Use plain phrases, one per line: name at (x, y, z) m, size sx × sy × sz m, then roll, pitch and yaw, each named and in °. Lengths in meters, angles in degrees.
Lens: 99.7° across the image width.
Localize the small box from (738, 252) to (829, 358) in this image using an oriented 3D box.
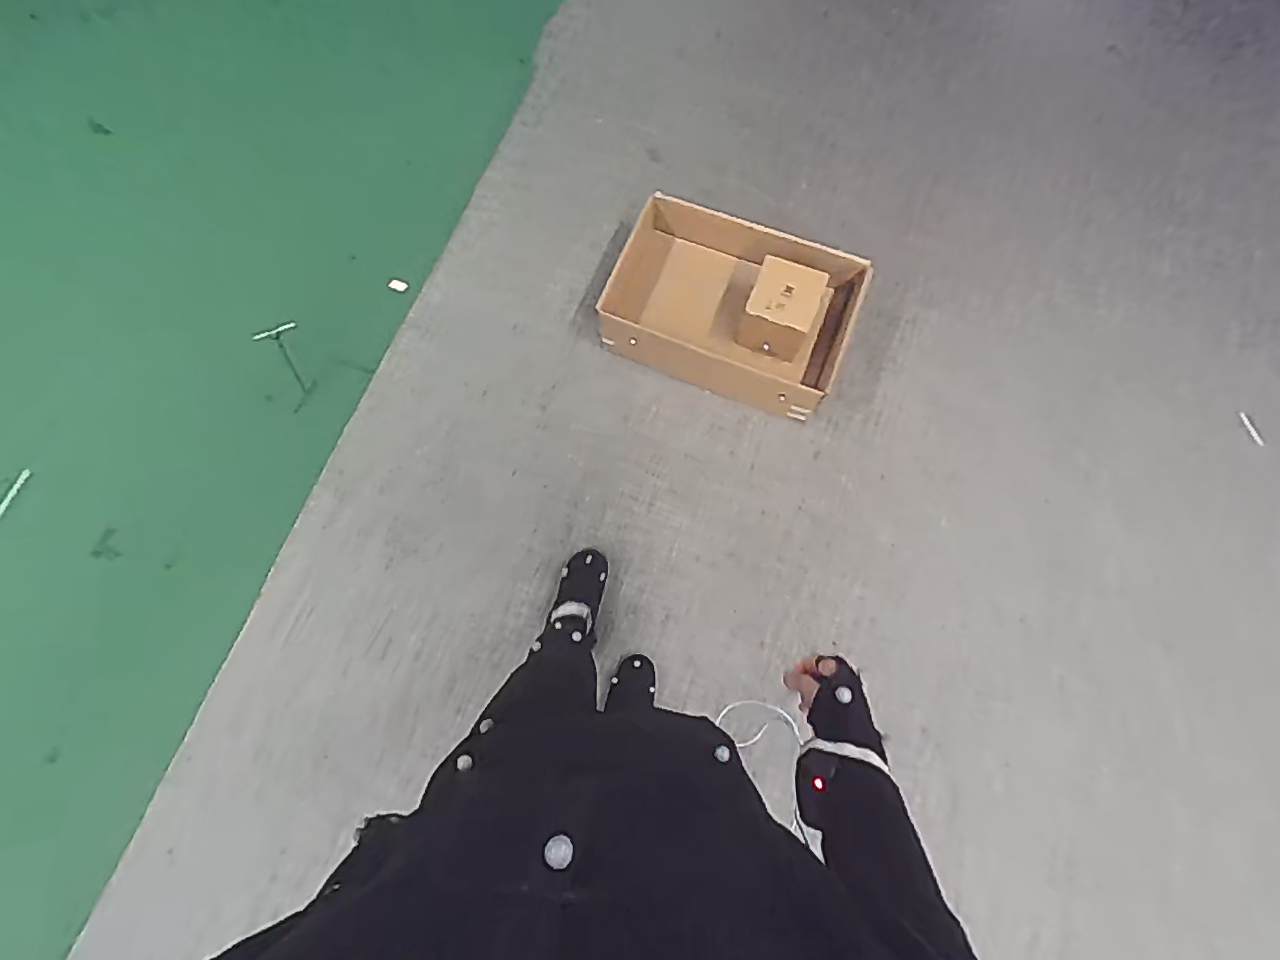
small box at (0.366, -0.451, 1.412) m, size 0.168 × 0.176 × 0.179 m, roll 21°, pitch 78°, yaw 8°
